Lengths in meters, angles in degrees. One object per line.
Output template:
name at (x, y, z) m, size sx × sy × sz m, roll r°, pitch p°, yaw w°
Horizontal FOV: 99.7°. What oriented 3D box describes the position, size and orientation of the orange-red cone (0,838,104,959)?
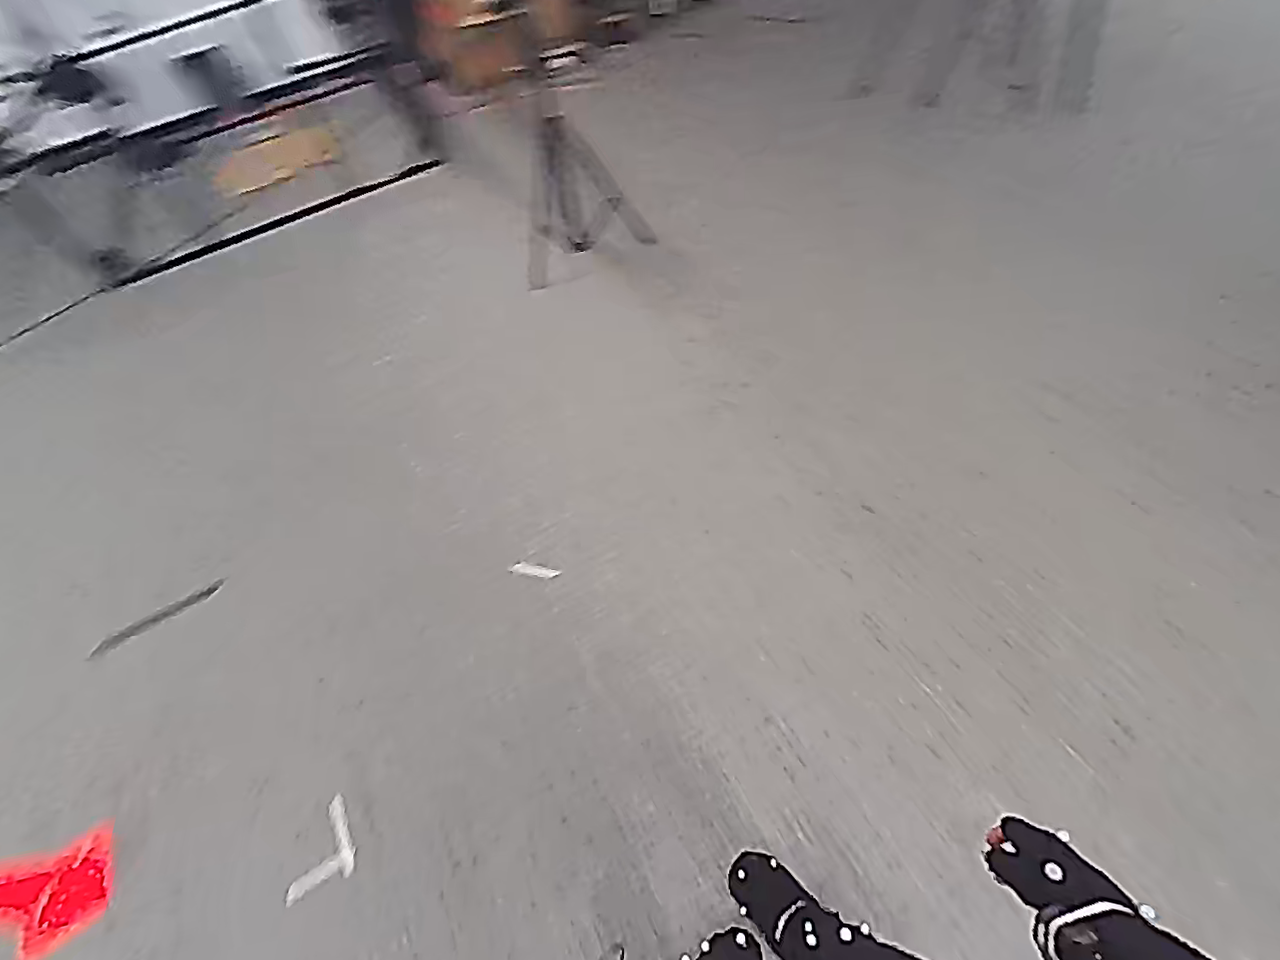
orange-red cone at (-1.421, 0.913, 1.162) m, size 0.199 × 0.360 × 0.198 m, roll -34°, pitch 56°, yaw -13°
